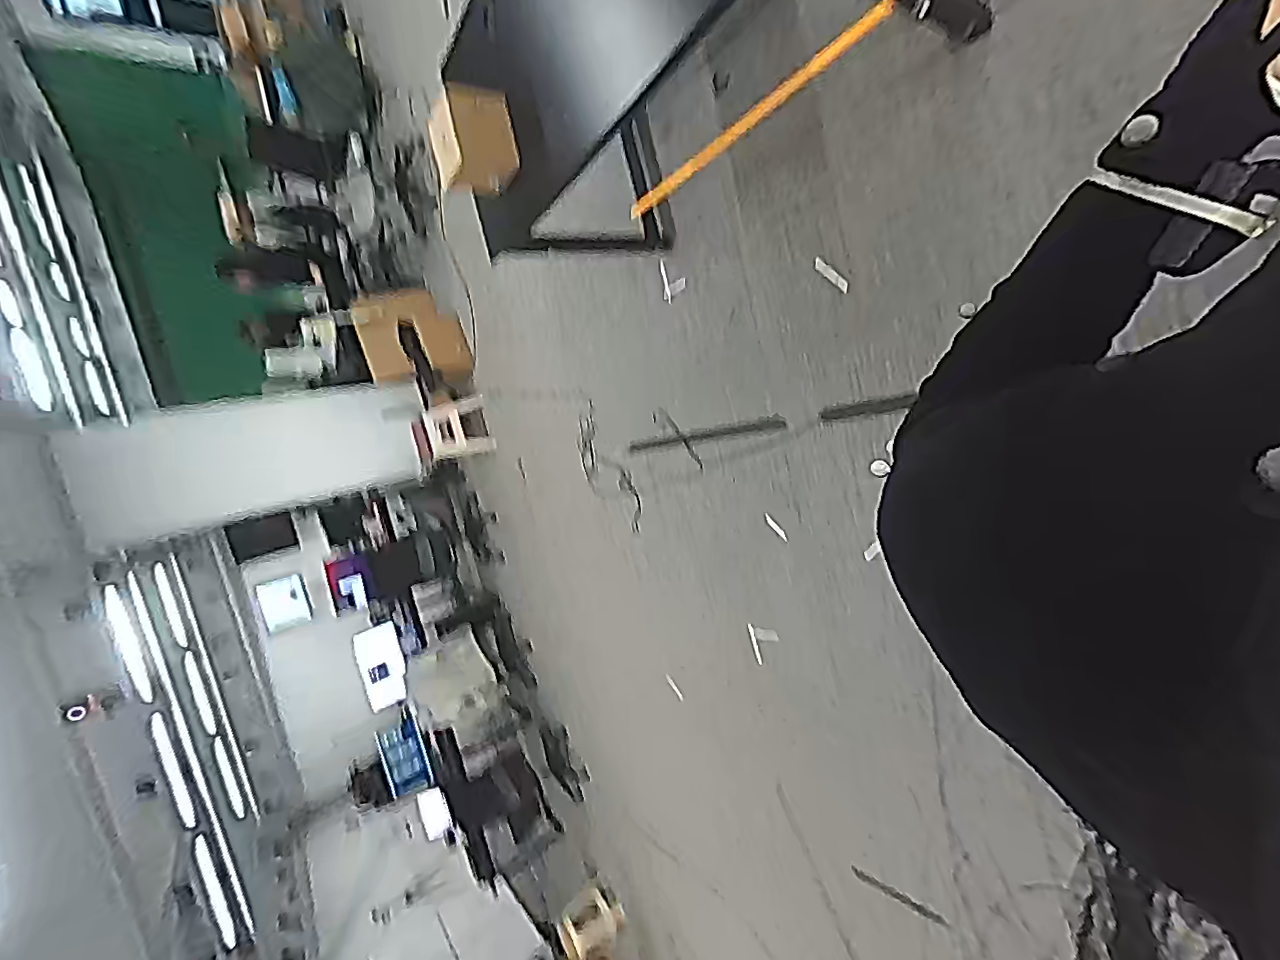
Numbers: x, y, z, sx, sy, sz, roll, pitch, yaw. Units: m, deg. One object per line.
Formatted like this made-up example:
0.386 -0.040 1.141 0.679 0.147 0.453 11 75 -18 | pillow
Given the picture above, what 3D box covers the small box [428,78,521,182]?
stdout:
-0.444 -0.929 1.455 0.168 0.176 0.179 -4 102 56 | small box
